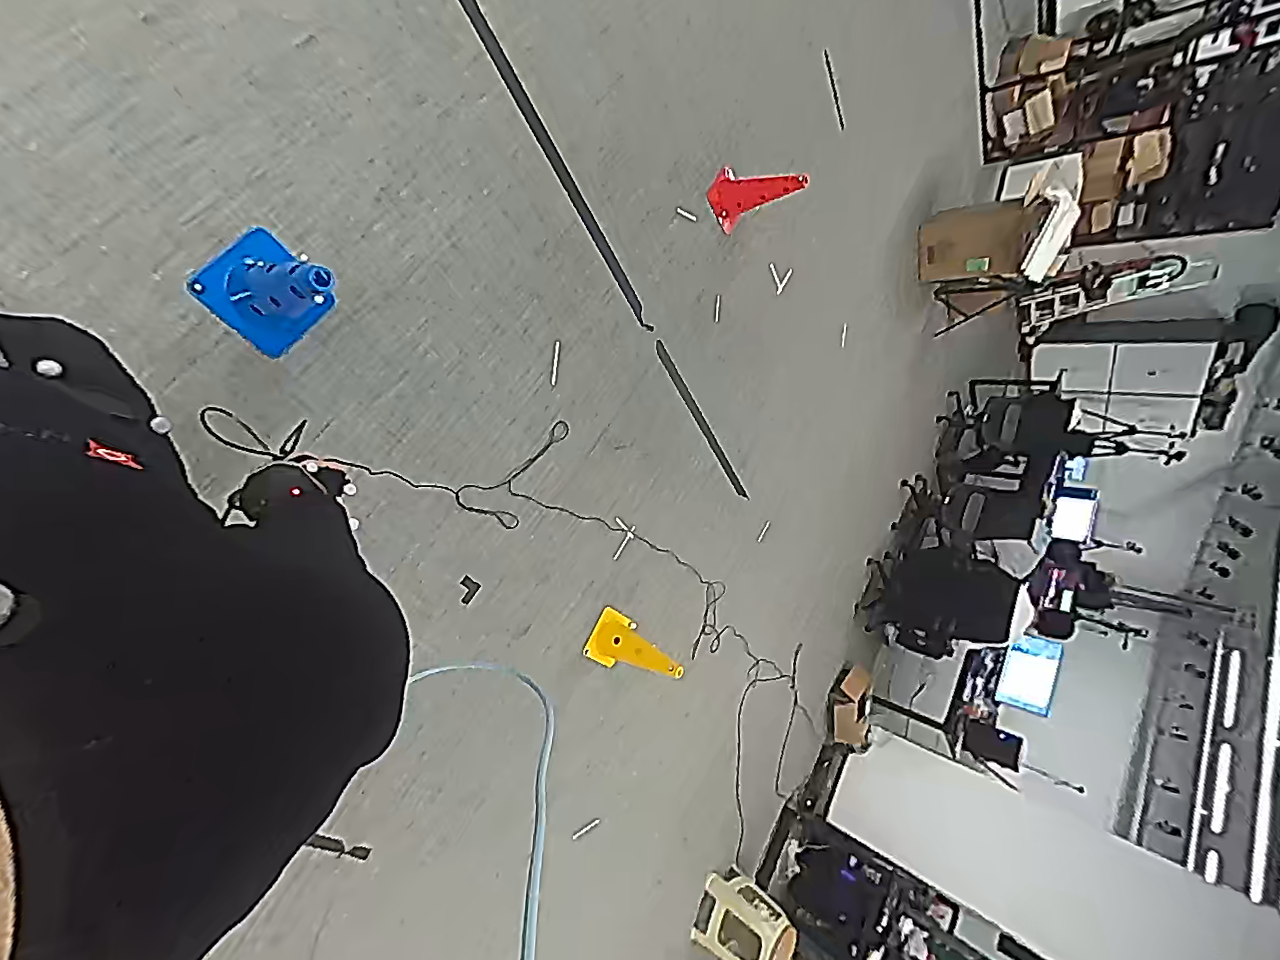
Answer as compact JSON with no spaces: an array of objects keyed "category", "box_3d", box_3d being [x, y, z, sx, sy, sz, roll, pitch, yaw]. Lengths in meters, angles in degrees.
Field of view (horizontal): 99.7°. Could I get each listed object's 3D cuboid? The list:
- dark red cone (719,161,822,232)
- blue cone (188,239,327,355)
[{"category":"dark red cone","box_3d":[0.508,-1.119,2.080,0.202,0.394,0.201,44,68,-44]},{"category":"blue cone","box_3d":[-0.666,-0.351,1.017,0.192,0.380,0.193,-55,134,-22]}]
